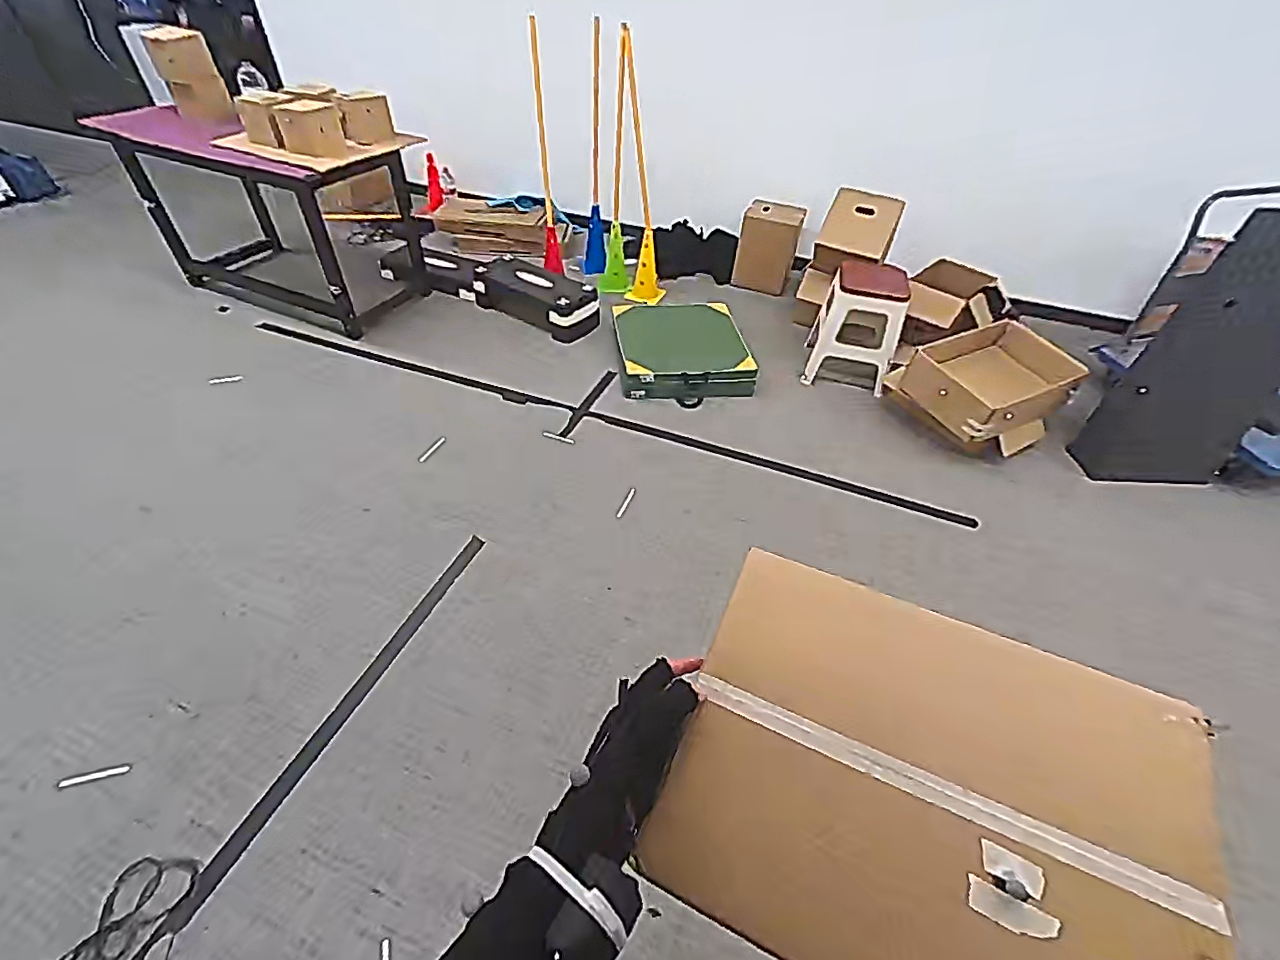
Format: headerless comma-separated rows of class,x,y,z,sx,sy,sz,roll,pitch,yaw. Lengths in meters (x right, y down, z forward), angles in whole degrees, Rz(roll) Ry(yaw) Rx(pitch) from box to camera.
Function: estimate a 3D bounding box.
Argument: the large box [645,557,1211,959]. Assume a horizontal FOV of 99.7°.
large box,0.253,0.341,0.584,0.408,0.320,0.320,19,60,18
